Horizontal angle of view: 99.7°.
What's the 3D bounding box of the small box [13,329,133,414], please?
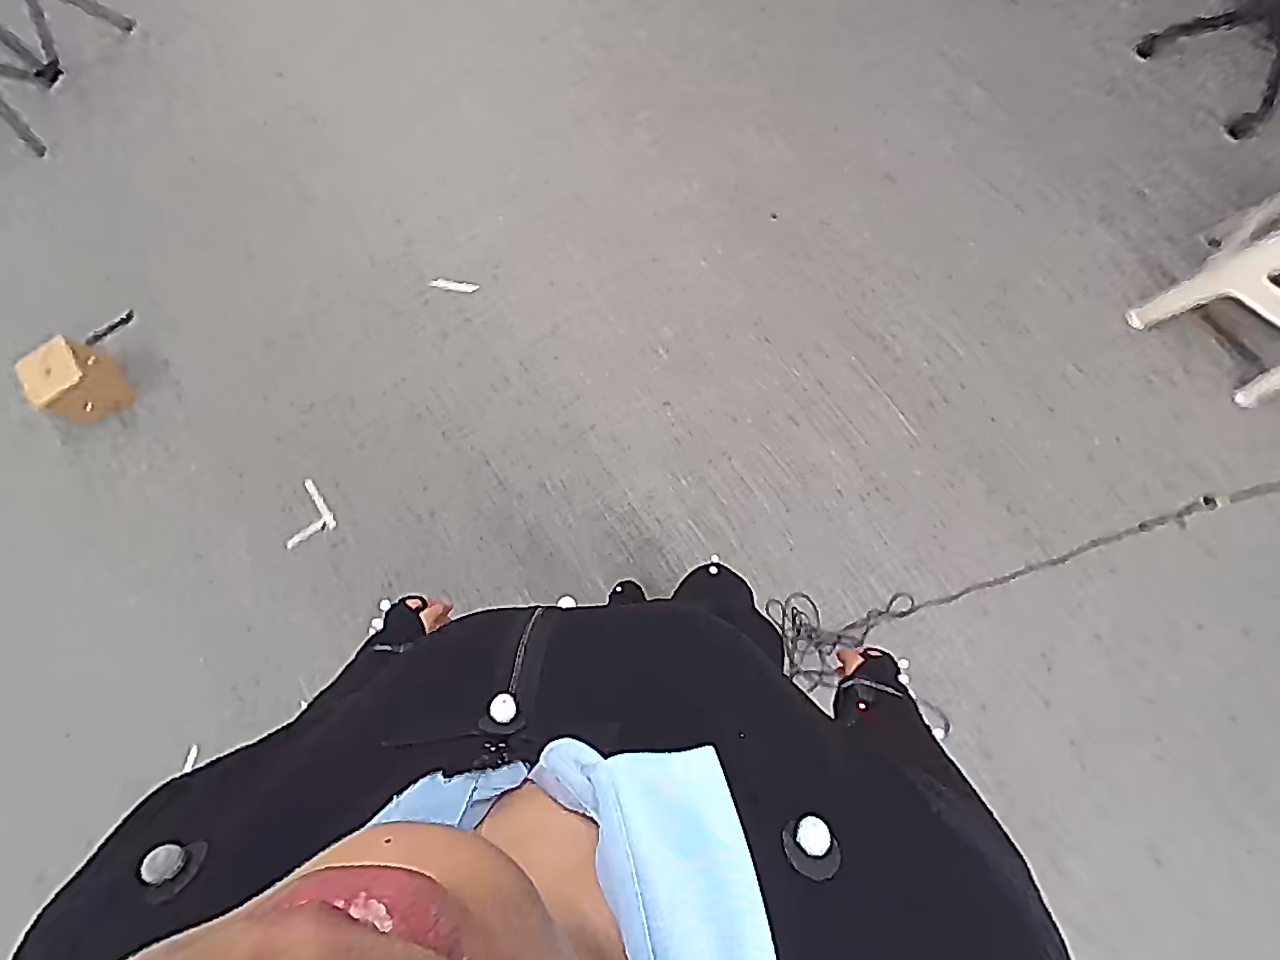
[{"bbox_3d":[-1.727,-0.320,1.658,0.168,0.176,0.179,-35,78,-3],"label":"small box"}]
